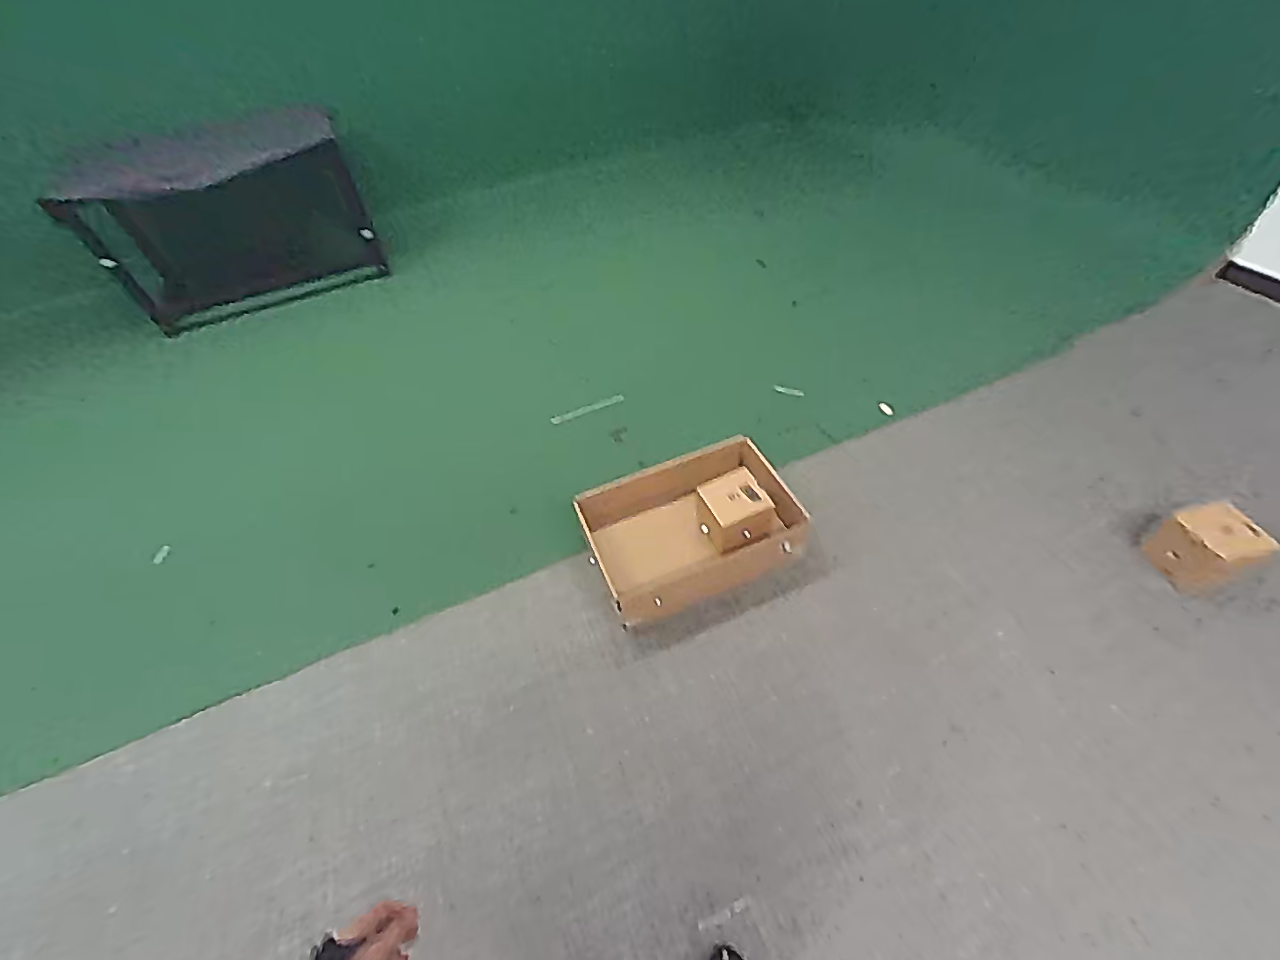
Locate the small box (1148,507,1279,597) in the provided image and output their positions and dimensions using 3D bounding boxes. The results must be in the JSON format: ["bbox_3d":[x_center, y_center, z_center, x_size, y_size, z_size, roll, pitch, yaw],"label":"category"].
[{"bbox_3d":[1.574,0.203,1.497,0.179,0.176,0.168,-12,49,-4],"label":"small box"}]
